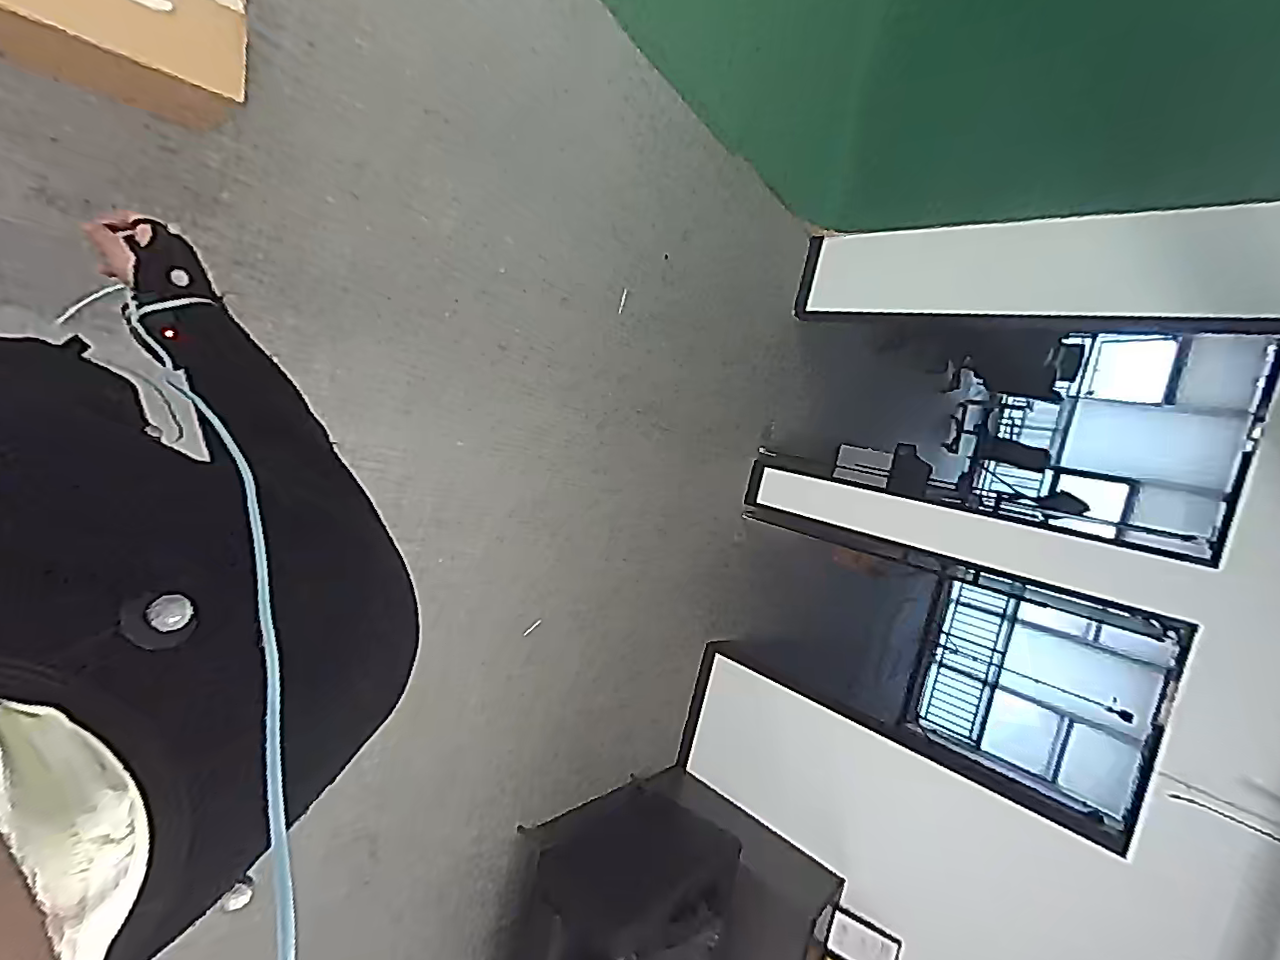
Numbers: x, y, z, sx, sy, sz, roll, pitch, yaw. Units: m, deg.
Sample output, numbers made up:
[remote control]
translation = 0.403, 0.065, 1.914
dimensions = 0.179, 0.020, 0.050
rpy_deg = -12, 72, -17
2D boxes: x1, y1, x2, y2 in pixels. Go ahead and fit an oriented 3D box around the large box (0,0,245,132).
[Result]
[large box]
translation = -0.968, -0.879, 0.935
dimensions = 0.408, 0.320, 0.320
rpy_deg = -4, 105, -49
